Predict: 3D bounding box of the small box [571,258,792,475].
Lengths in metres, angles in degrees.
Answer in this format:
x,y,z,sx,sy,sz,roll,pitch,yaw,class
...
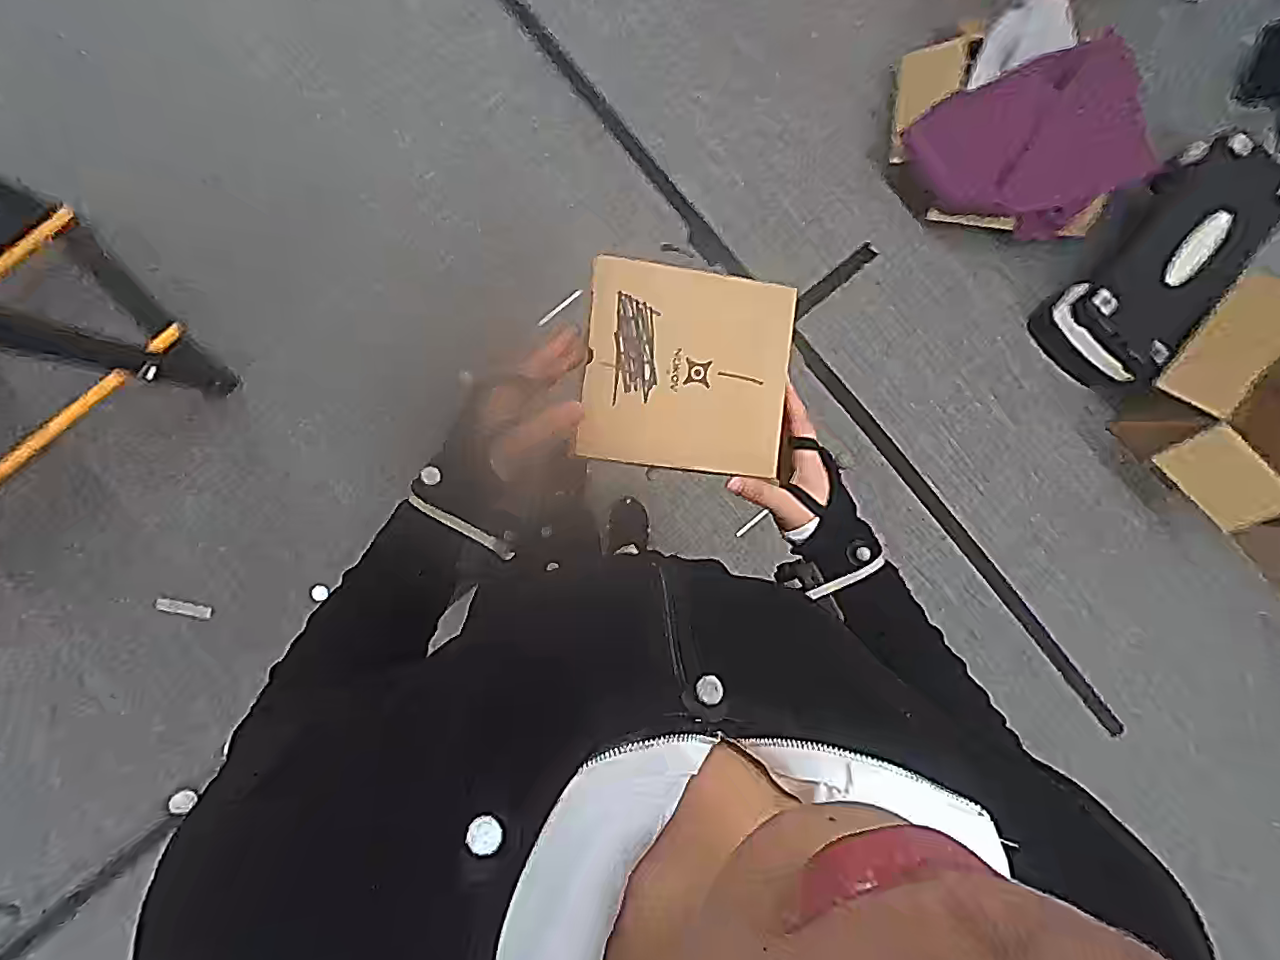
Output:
x,y,z,sx,sy,sz,roll,pitch,yaw,class
0.026,-0.094,0.527,0.179,0.176,0.168,5,91,-9,small box
